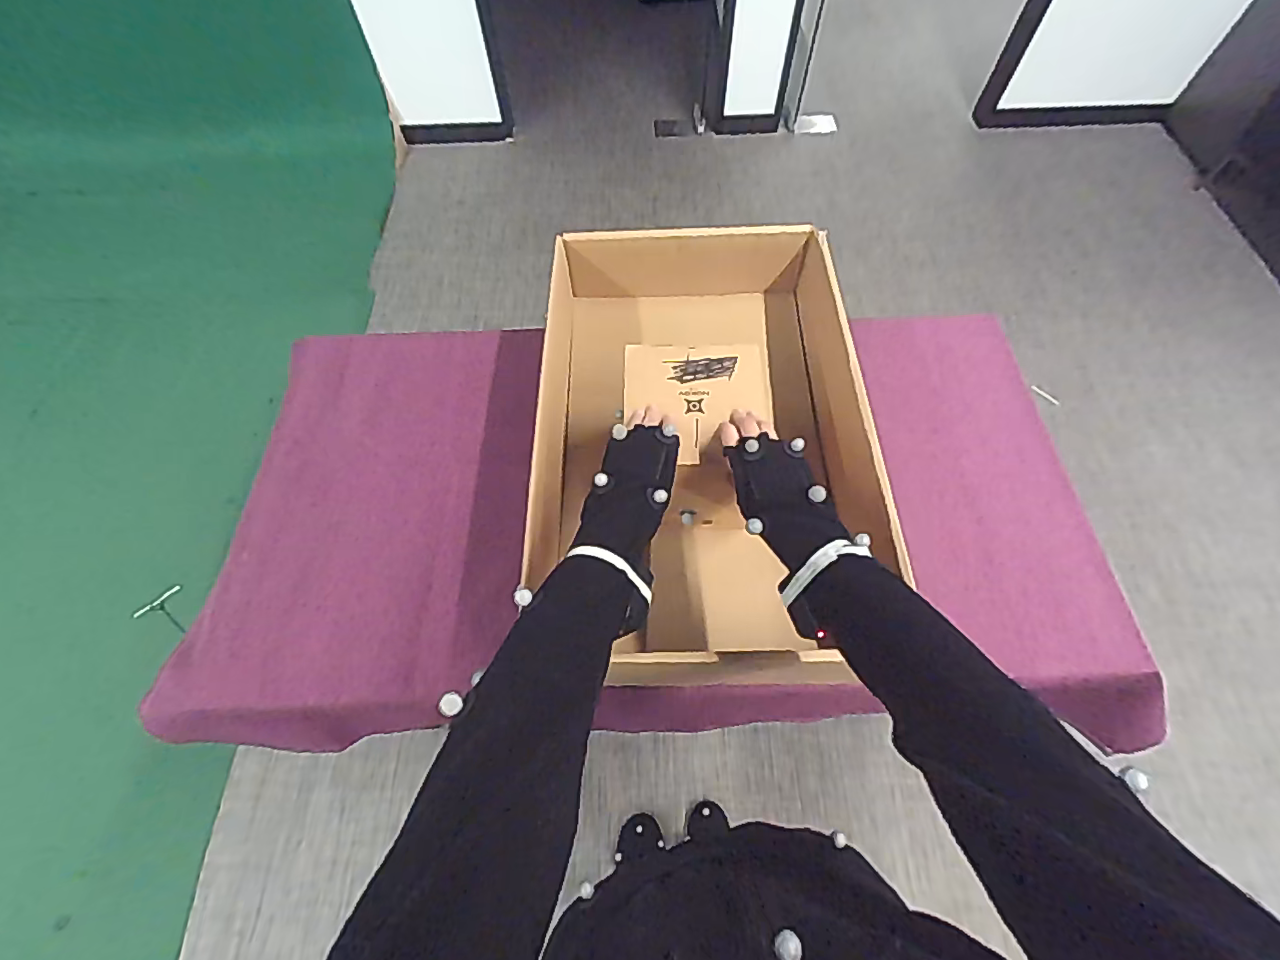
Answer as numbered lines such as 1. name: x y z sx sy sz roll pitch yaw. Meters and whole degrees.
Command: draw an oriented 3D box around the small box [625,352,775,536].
1. small box: 0.066 -0.042 0.691 0.168 0.176 0.179 -1 61 1
